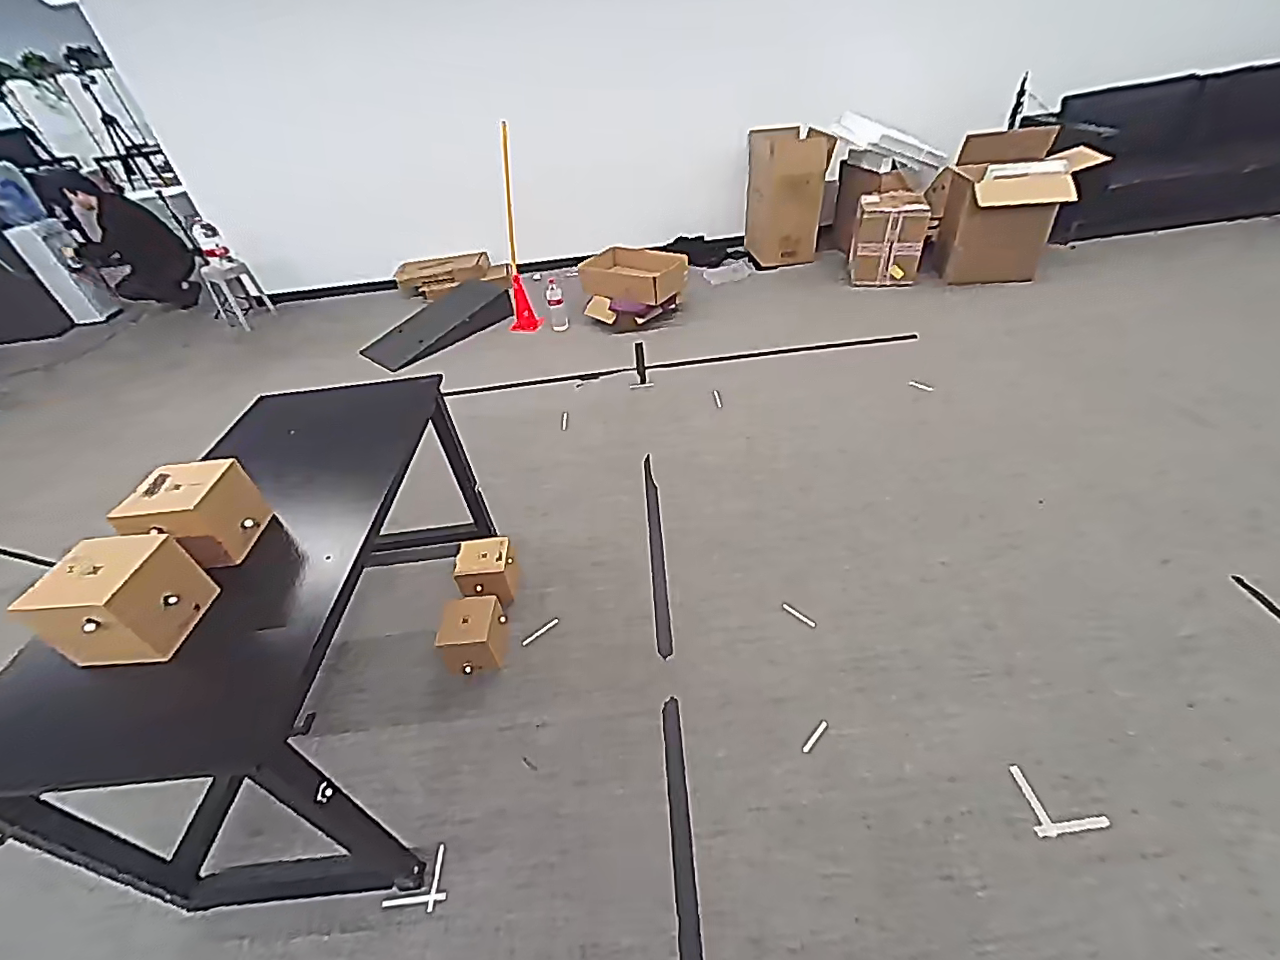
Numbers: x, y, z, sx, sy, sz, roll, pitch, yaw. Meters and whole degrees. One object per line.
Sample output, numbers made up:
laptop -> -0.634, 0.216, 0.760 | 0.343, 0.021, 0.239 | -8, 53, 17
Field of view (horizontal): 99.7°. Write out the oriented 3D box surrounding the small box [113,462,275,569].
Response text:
small box -> -0.954, 0.083, 1.177 | 0.179, 0.176, 0.168 | -6, 40, 1

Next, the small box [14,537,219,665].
small box -> -0.948, 0.226, 1.004 | 0.179, 0.176, 0.168 | -5, 39, 4

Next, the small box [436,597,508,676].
small box -> -0.533, 0.505, 1.748 | 0.168, 0.176, 0.179 | -7, 40, 2

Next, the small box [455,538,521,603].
small box -> -0.542, 0.335, 1.948 | 0.179, 0.176, 0.168 | -7, 40, 1
